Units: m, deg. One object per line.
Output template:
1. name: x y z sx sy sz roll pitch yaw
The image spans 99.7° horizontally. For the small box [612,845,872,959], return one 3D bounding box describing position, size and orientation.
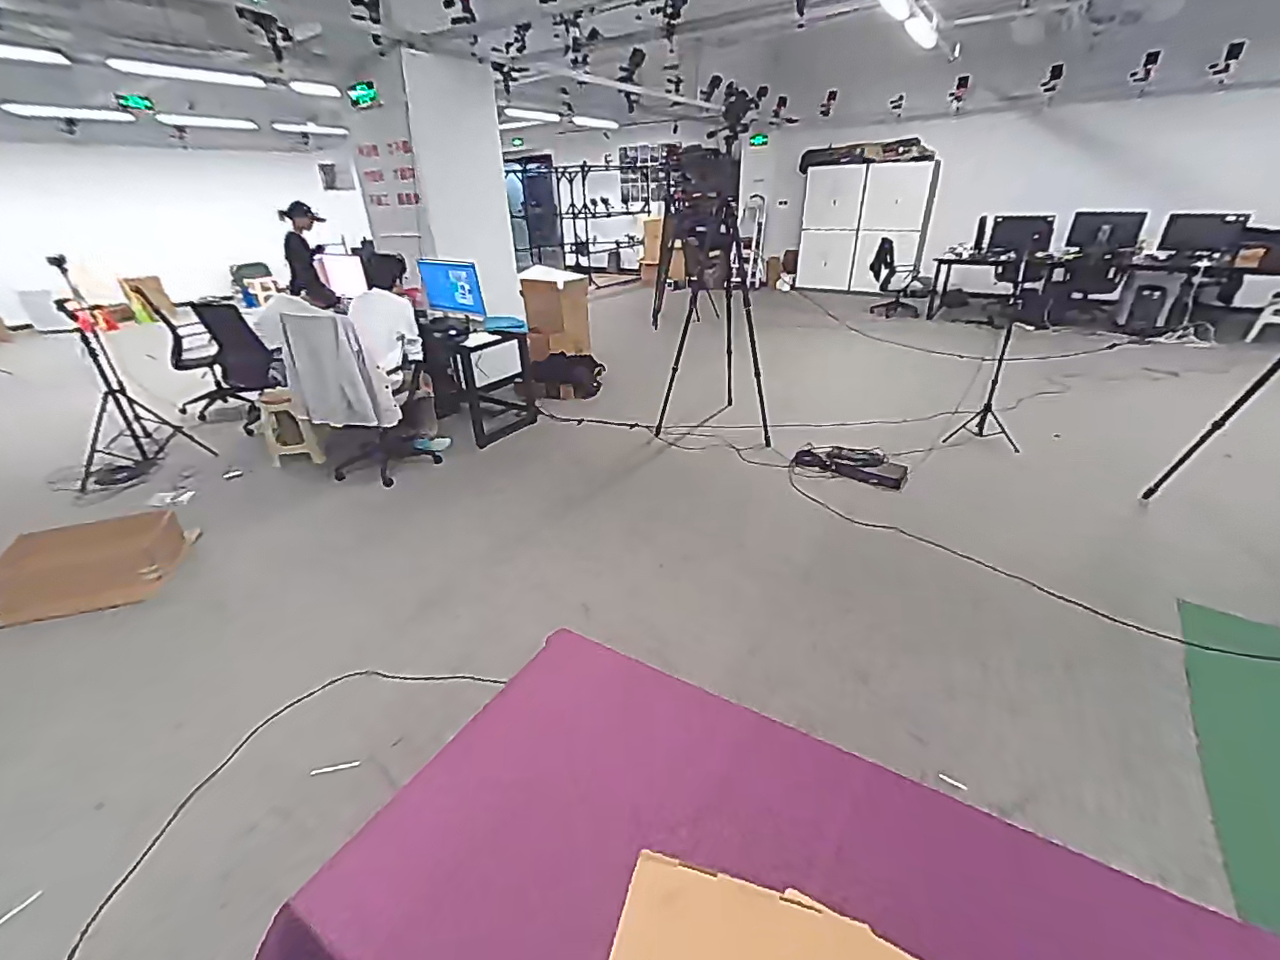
1. small box: 0.059 0.404 0.375 0.168 0.176 0.179 7 39 18
